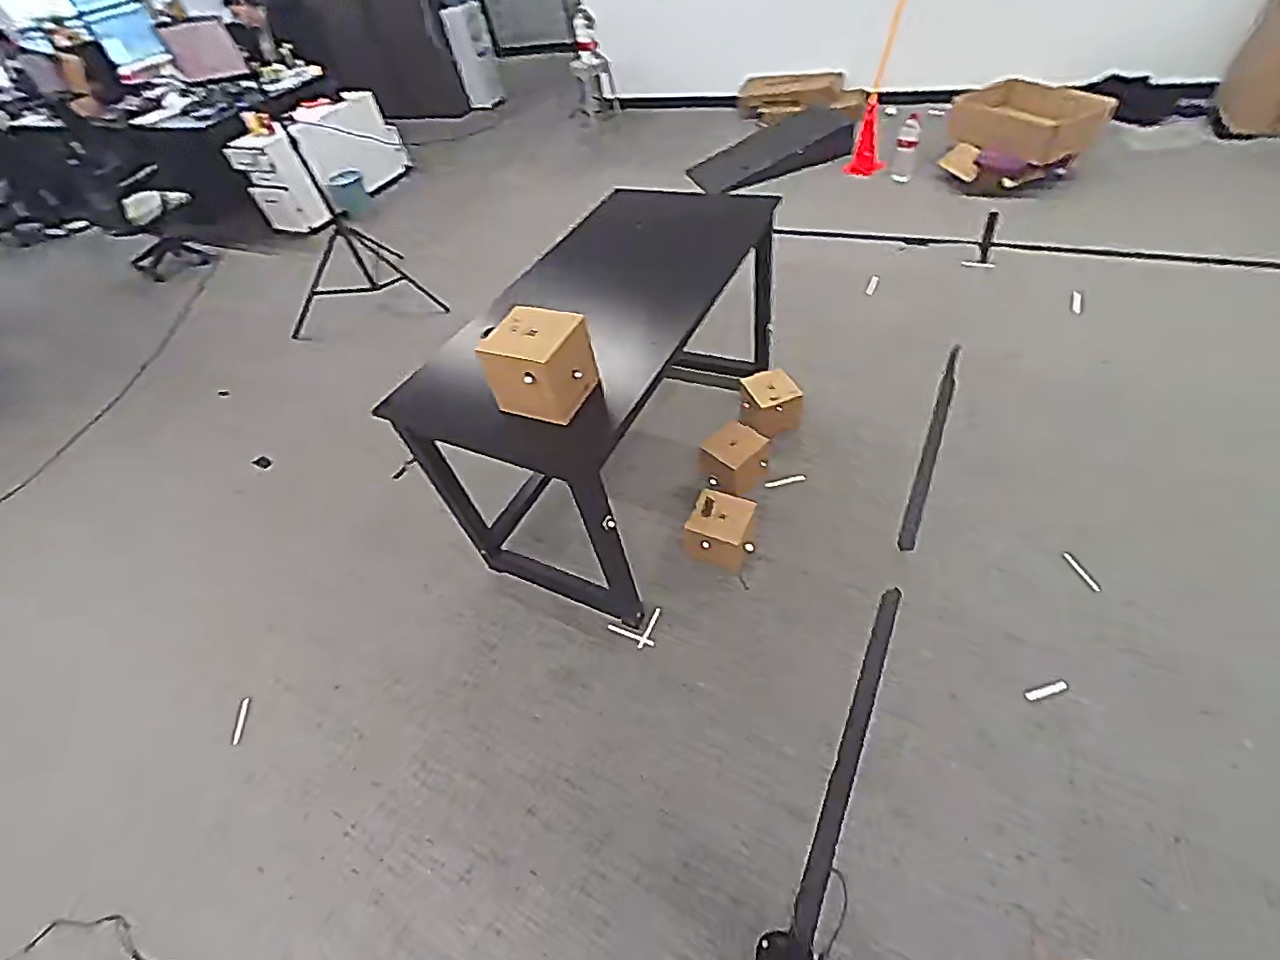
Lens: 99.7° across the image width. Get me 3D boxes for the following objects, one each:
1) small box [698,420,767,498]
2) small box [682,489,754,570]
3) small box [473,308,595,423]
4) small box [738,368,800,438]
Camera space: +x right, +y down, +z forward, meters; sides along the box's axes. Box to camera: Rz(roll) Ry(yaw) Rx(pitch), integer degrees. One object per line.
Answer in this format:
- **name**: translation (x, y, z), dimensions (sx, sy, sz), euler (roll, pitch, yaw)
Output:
- **small box**: translation (0.322, -0.070, 1.878), dimensions (0.179, 0.176, 0.168), euler (-39, 53, -19)
- **small box**: translation (0.248, 0.159, 1.697), dimensions (0.179, 0.176, 0.168), euler (16, 56, 22)
- **small box**: translation (-0.217, -0.244, 1.164), dimensions (0.179, 0.176, 0.168), euler (14, 54, 22)
- **small box**: translation (0.477, -0.286, 2.024), dimensions (0.168, 0.176, 0.179), euler (-21, 49, -6)
